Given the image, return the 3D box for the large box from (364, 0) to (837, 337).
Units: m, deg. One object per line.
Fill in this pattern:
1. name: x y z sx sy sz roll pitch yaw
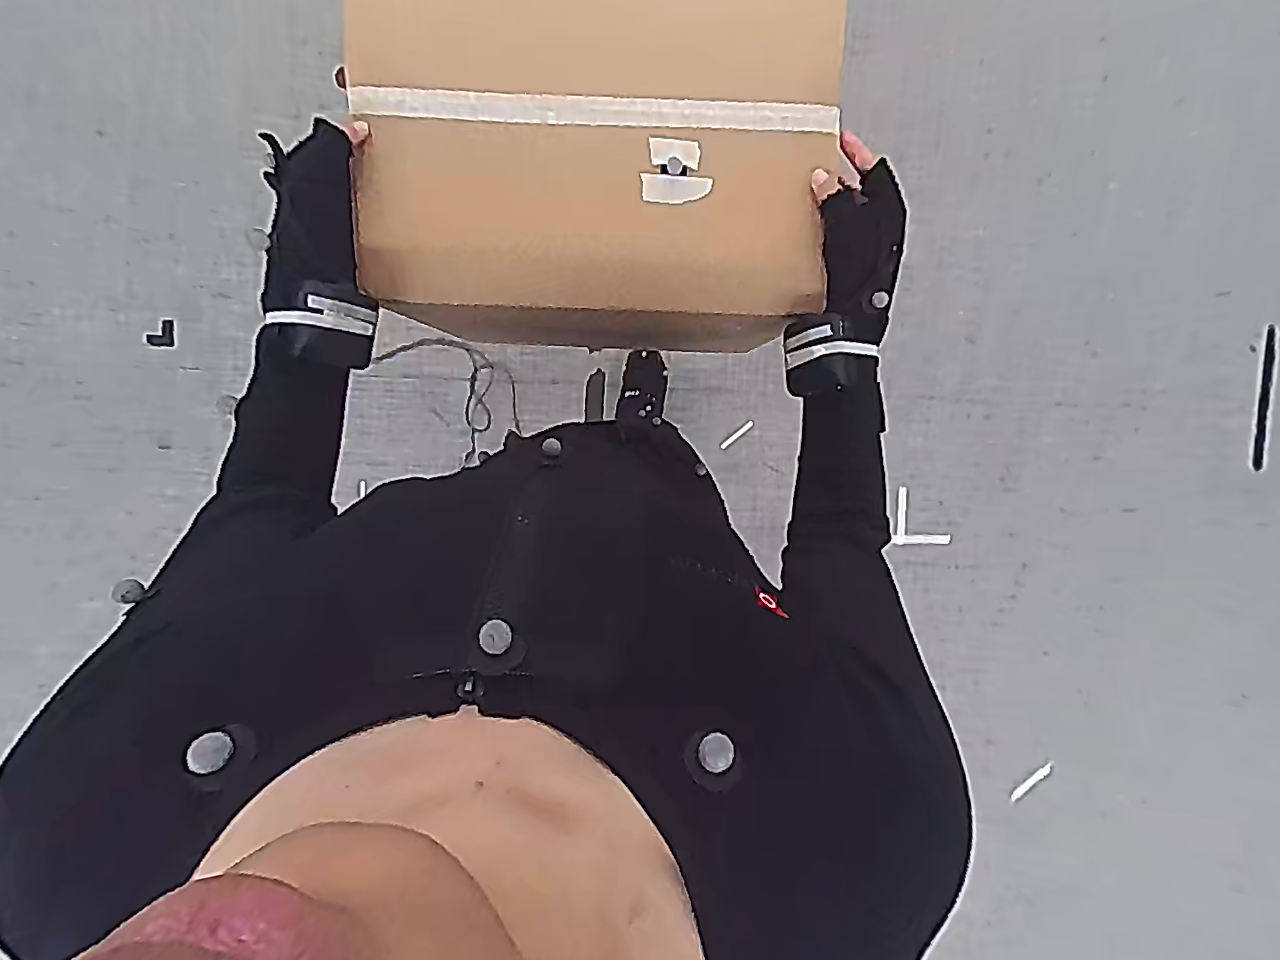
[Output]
1. large box: -0.038 -0.340 0.611 0.408 0.320 0.320 1 99 -2
